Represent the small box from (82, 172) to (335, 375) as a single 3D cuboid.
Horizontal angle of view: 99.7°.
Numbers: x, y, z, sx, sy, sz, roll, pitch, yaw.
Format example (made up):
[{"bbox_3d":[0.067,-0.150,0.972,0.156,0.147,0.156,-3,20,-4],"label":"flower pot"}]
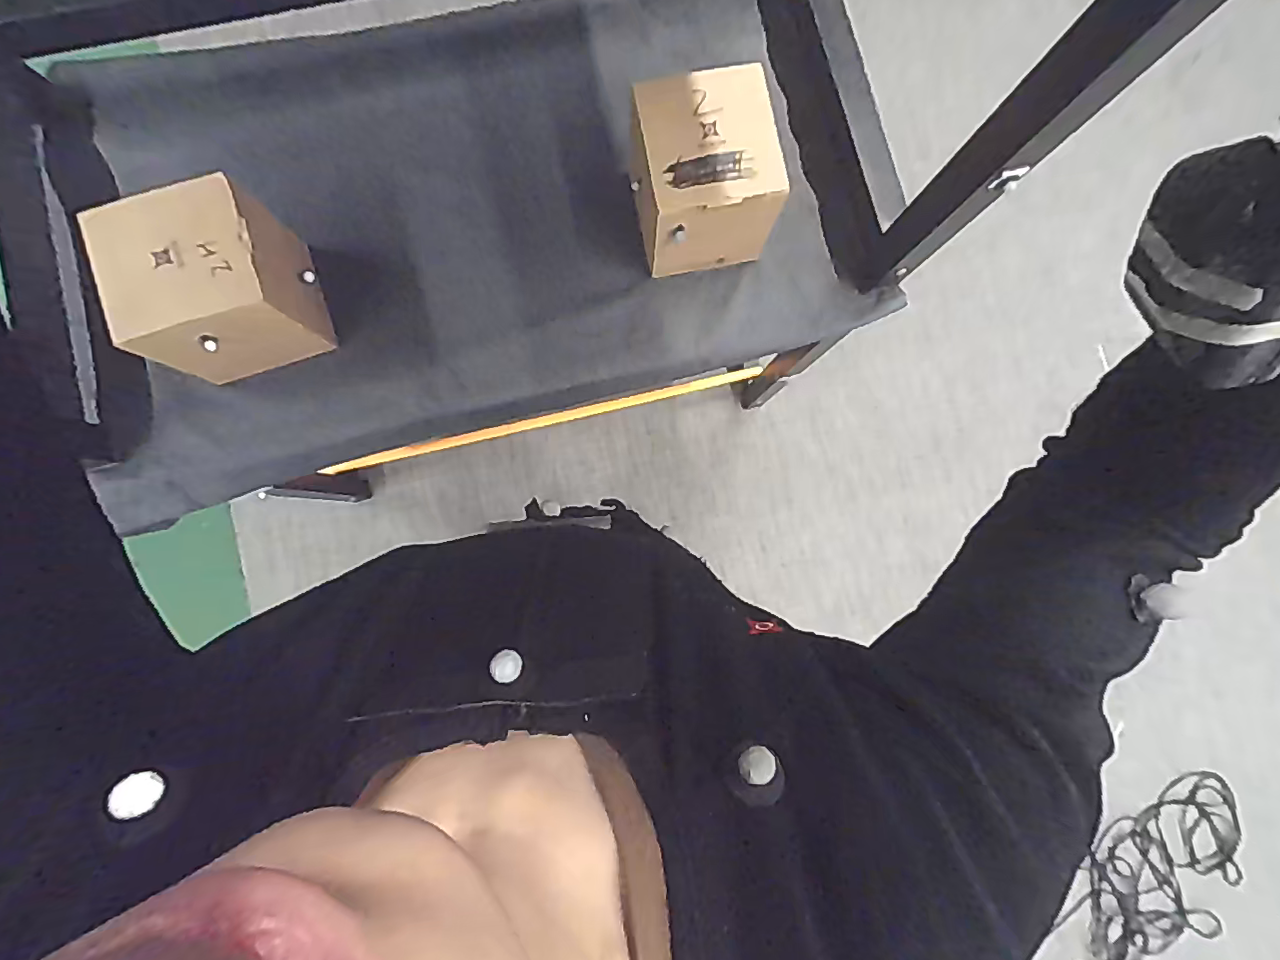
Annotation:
[{"bbox_3d":[-0.541,-0.252,0.702,0.179,0.176,0.168,-18,86,-4],"label":"small box"}]
